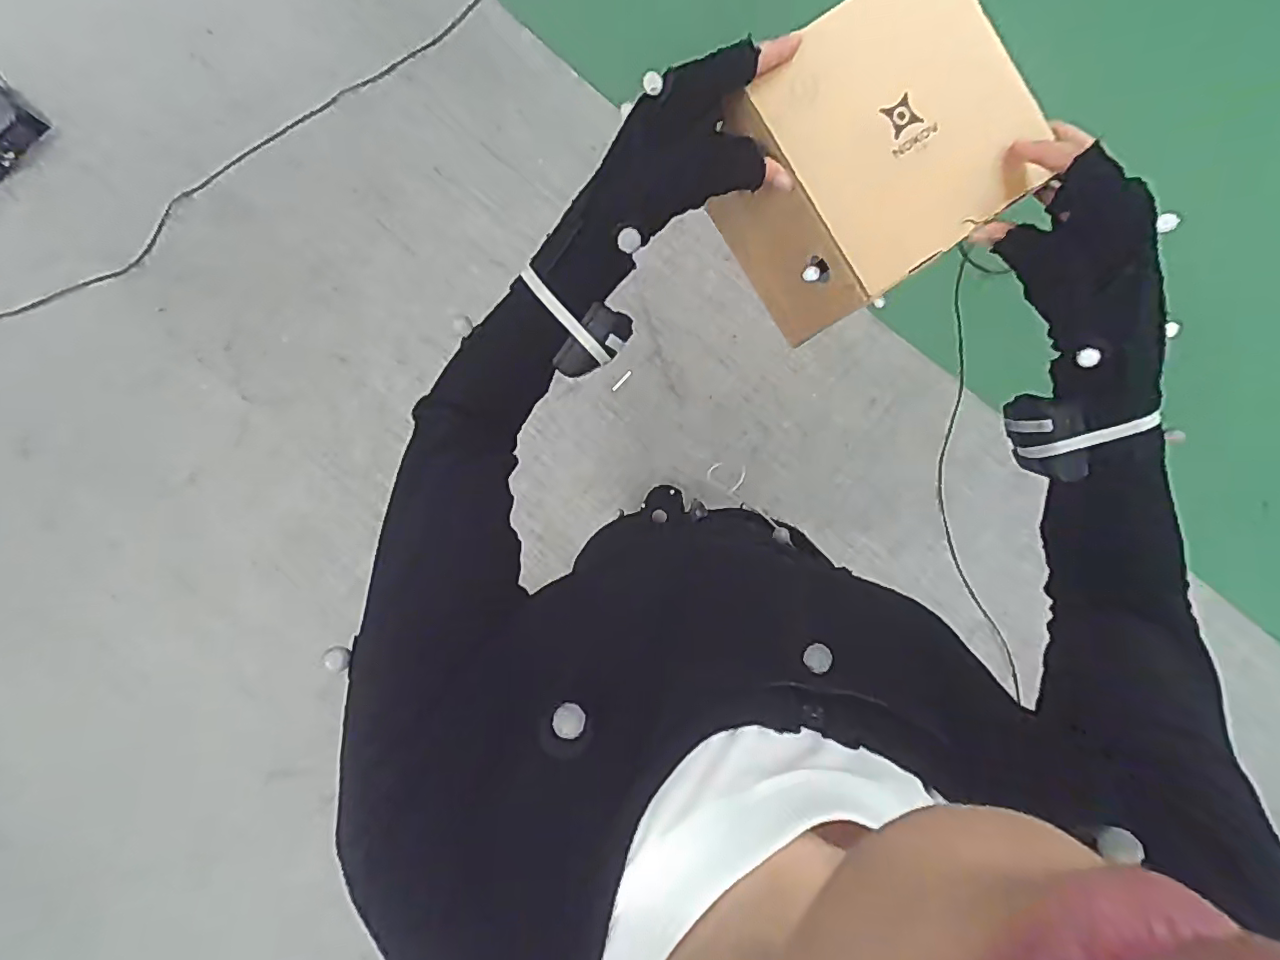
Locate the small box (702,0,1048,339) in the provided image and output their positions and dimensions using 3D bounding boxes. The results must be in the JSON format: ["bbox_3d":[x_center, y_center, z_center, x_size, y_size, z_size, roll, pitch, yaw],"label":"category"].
[{"bbox_3d":[0.170,-0.245,0.452,0.168,0.176,0.179,-32,94,-1],"label":"small box"}]
